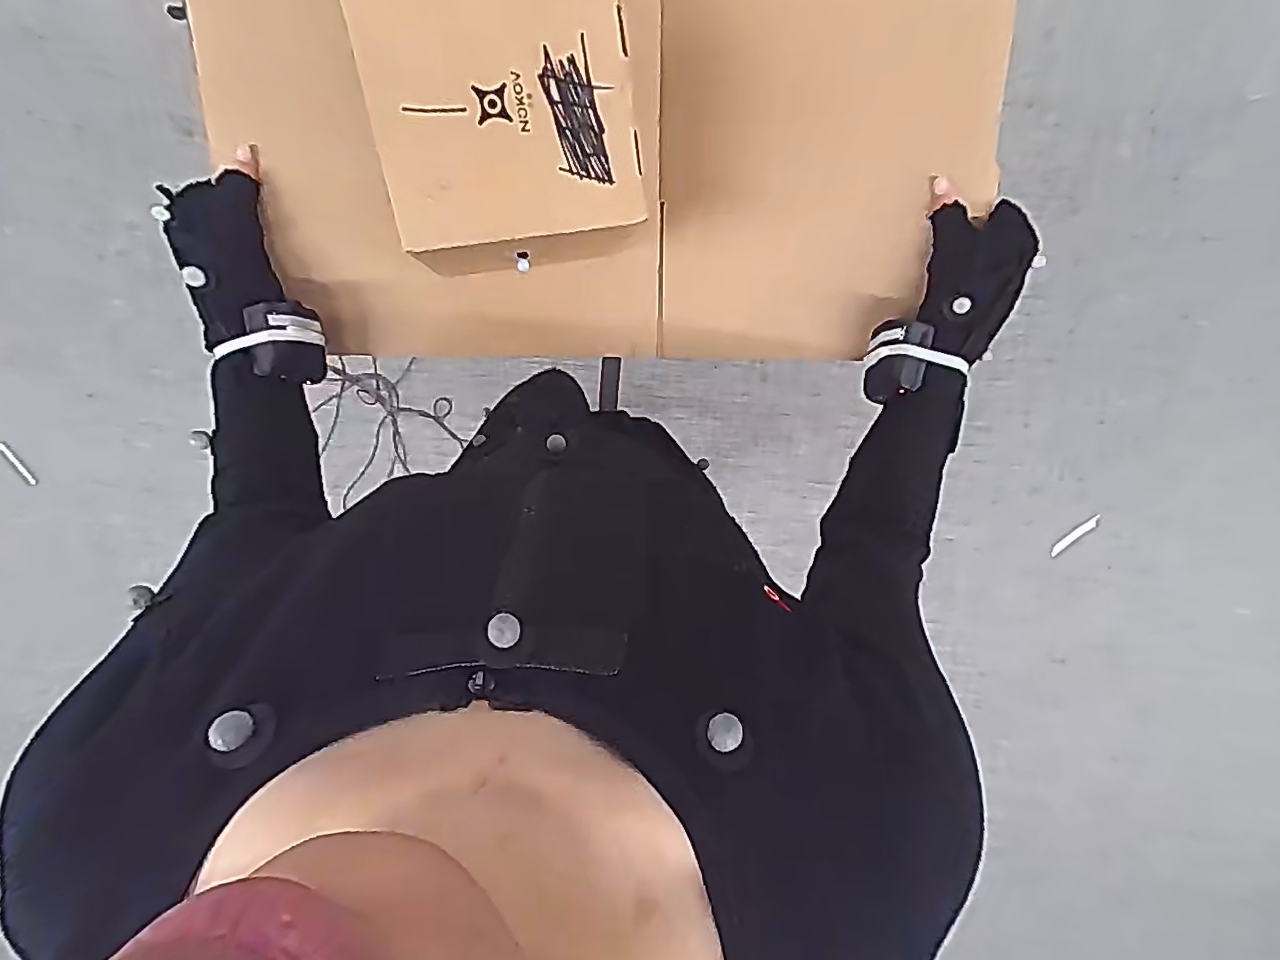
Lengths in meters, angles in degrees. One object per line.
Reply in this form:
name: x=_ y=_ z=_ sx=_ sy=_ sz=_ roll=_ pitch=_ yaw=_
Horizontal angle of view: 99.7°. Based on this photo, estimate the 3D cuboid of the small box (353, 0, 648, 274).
small box: x=-0.103 y=-0.274 z=0.447 sx=0.179 sy=0.176 sz=0.168 roll=-11 pitch=106 yaw=-8
